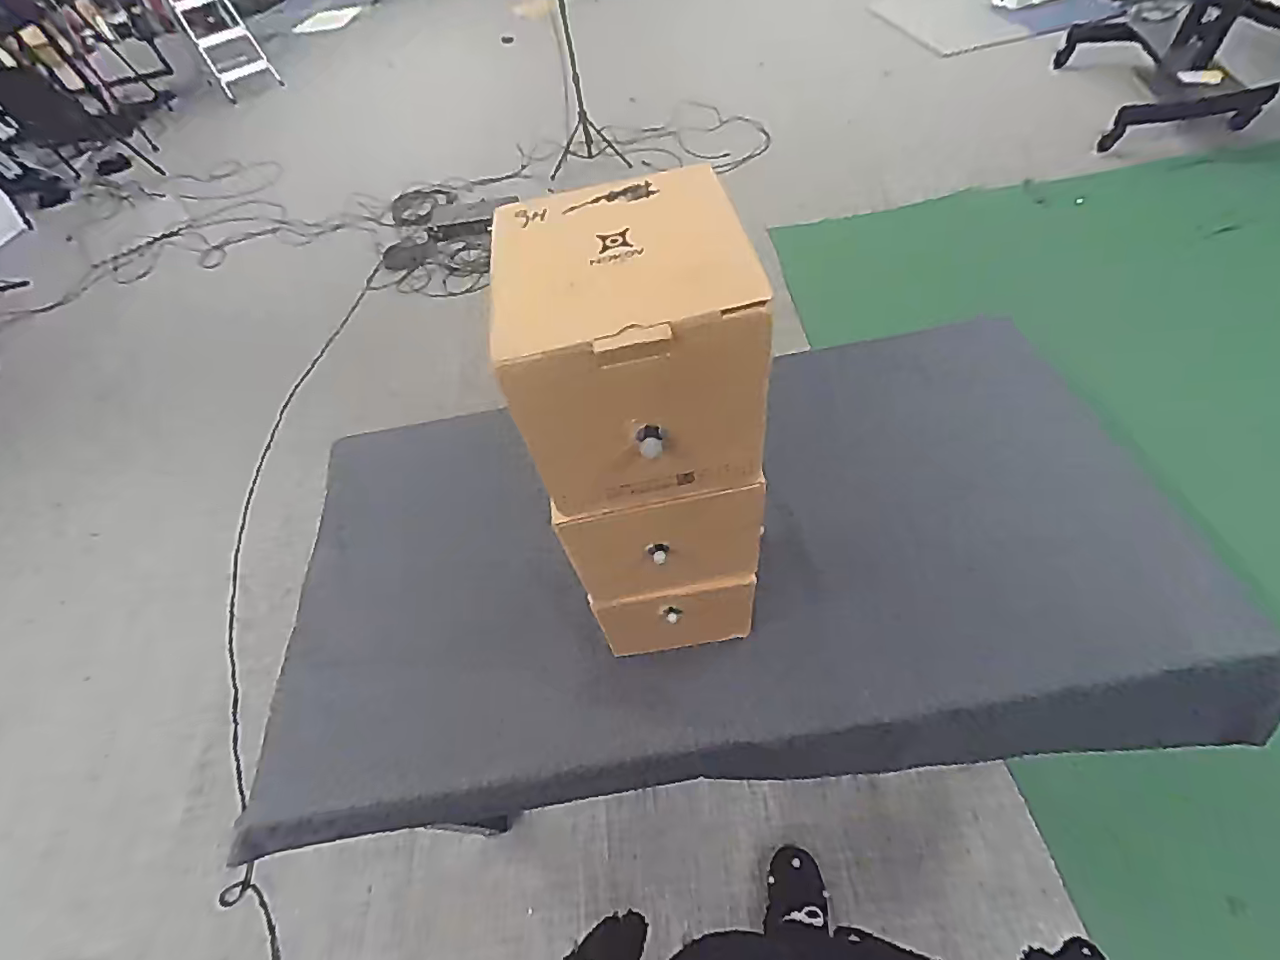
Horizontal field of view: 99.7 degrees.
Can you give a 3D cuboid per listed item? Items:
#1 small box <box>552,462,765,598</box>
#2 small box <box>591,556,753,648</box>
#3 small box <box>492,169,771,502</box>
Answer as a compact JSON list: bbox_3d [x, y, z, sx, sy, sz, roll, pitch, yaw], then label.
[{"bbox_3d":[0.015,0.002,0.545,0.179,0.176,0.168,-12,55,2],"label":"small box"},{"bbox_3d":[0.035,0.098,0.676,0.179,0.176,0.168,-9,55,1],"label":"small box"},{"bbox_3d":[-0.004,-0.098,0.416,0.168,0.176,0.179,-11,56,2],"label":"small box"}]
